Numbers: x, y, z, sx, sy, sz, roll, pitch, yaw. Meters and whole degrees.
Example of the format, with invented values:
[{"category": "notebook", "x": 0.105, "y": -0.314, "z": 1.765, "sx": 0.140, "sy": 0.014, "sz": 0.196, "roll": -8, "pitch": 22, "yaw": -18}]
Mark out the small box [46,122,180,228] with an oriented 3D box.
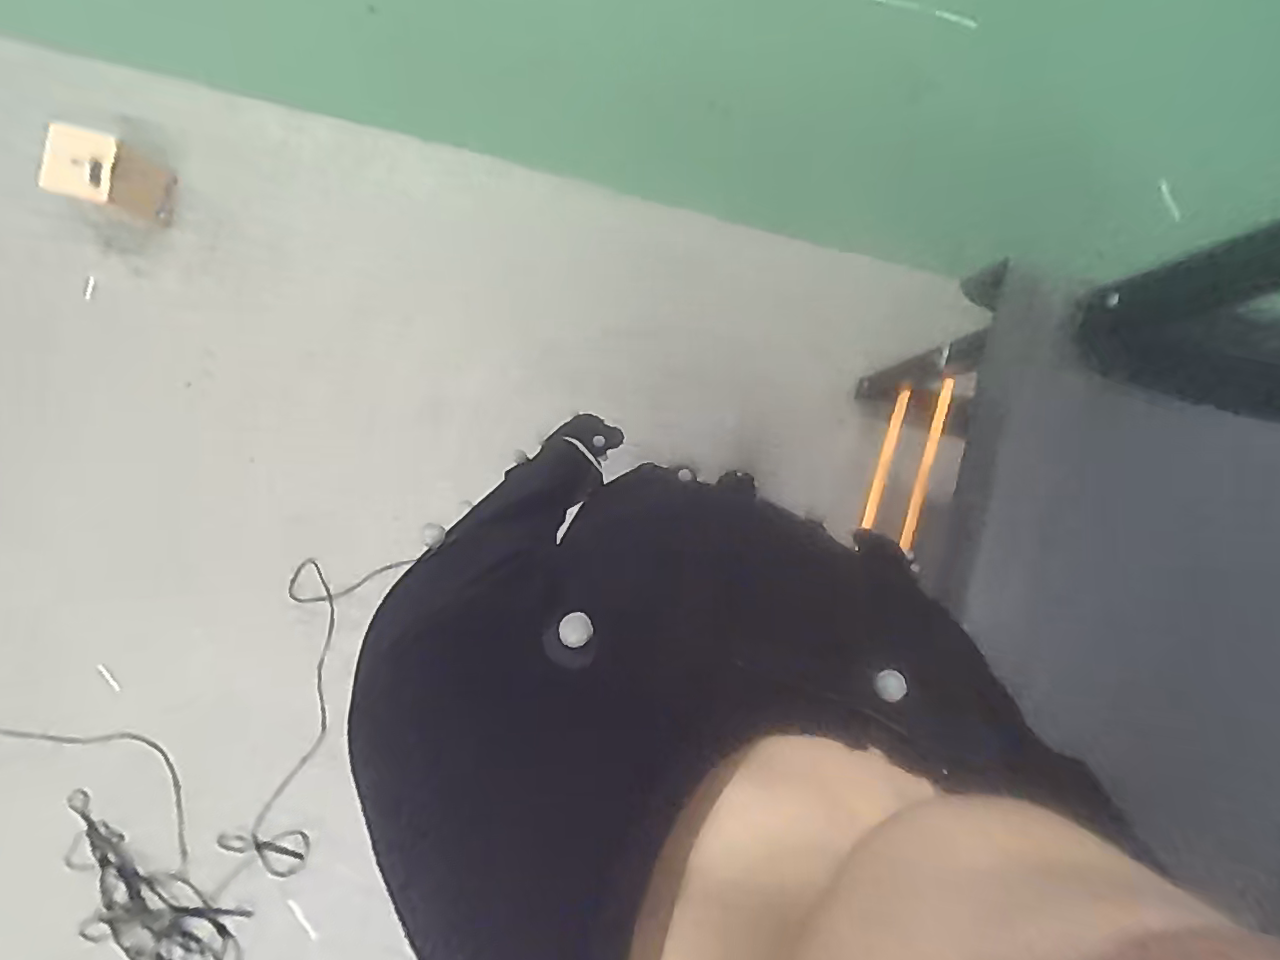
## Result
[{"category": "small box", "x": -1.353, "y": -0.779, "z": 1.401, "sx": 0.179, "sy": 0.176, "sz": 0.168, "roll": 13, "pitch": 92, "yaw": 1}]
